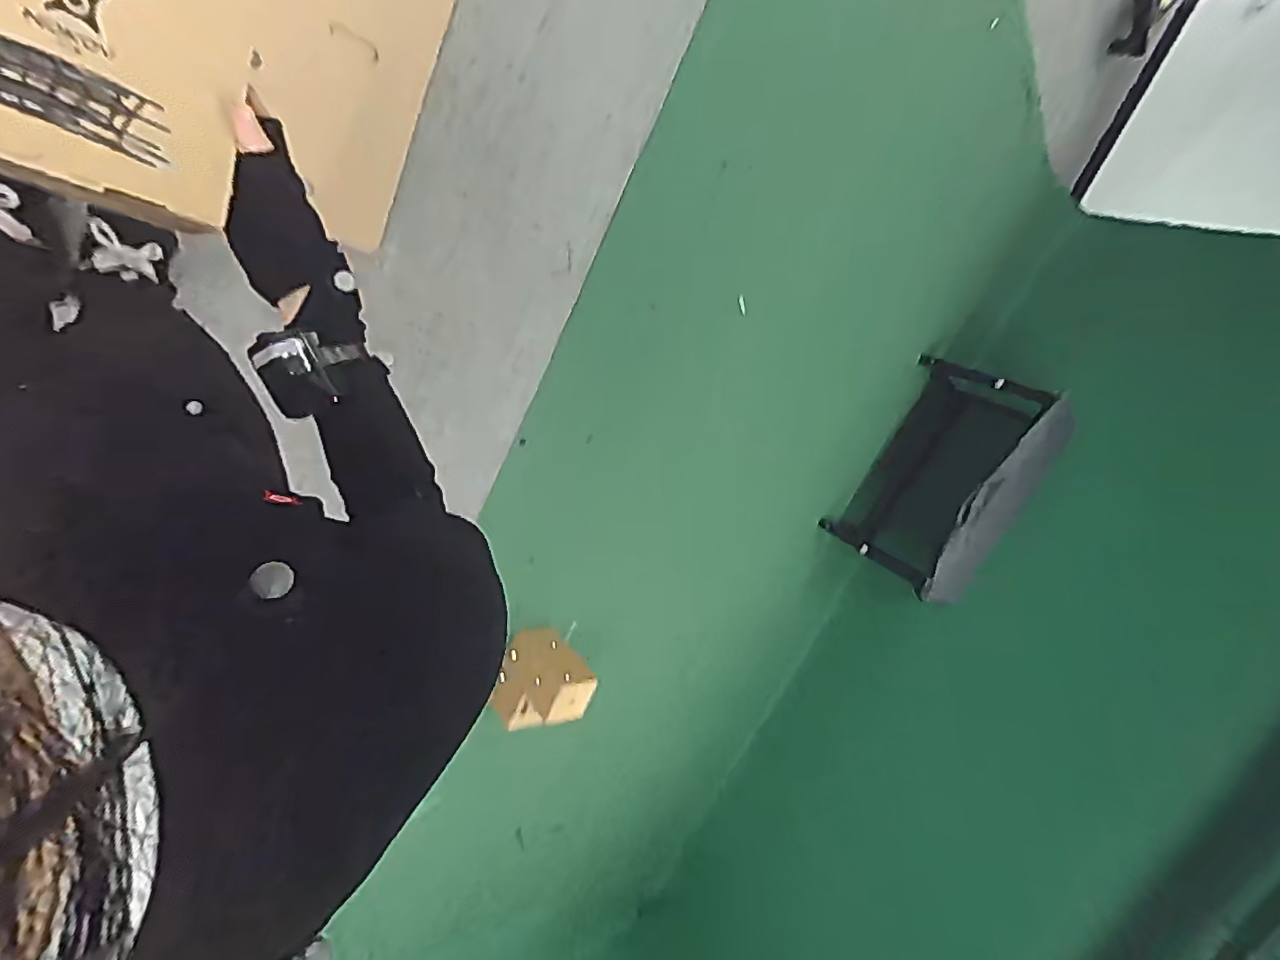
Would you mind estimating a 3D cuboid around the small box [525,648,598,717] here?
[{"bbox_3d":[-0.297,0.750,2.025,0.179,0.176,0.168,11,109,-46],"label":"small box"}]
